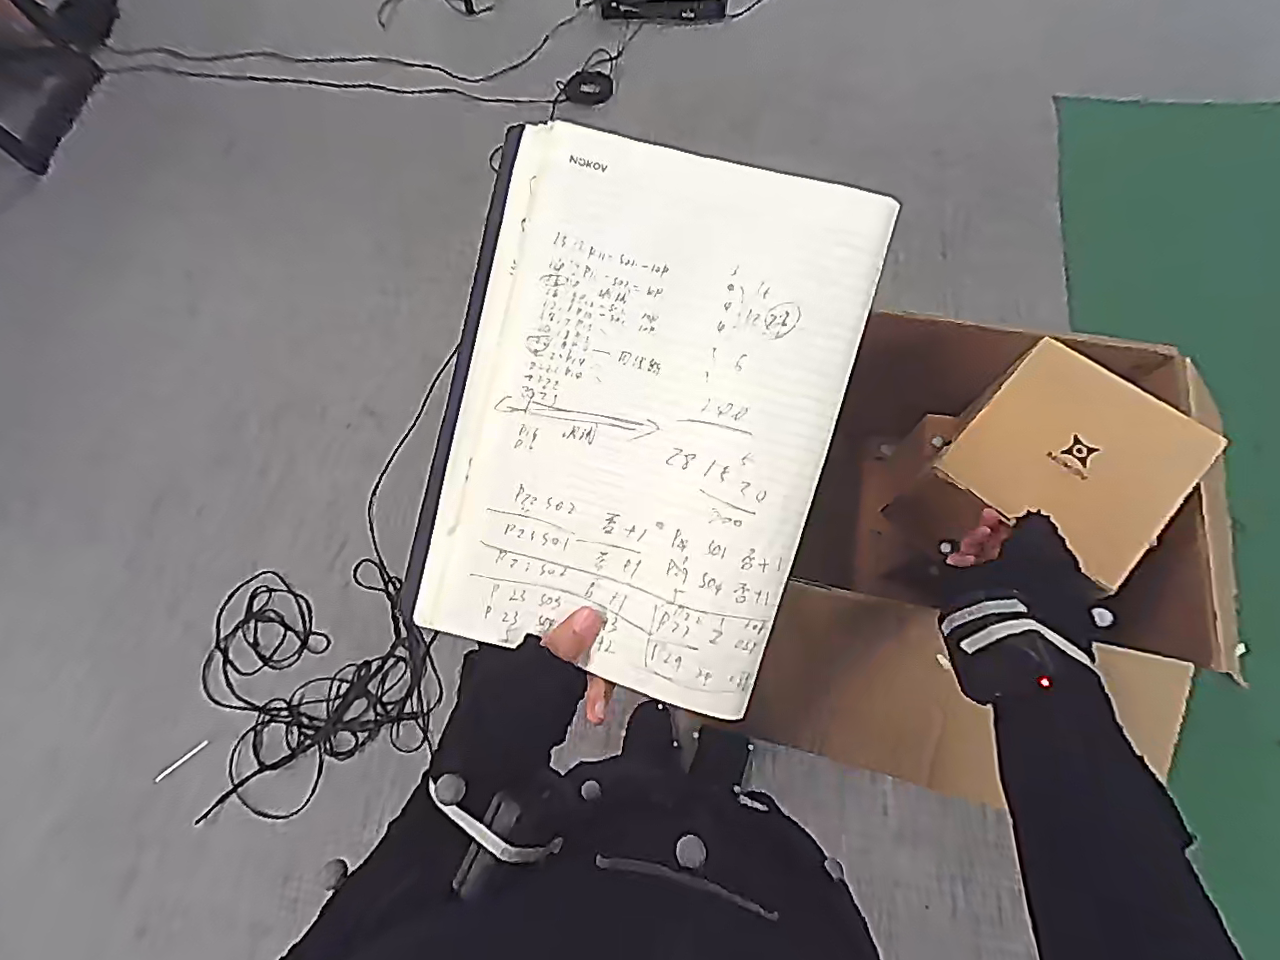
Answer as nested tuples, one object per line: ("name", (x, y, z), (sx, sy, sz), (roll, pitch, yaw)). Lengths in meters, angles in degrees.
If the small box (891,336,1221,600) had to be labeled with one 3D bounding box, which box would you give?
("small box", (0.388, 0.000, 0.545), (0.168, 0.176, 0.179), (40, 82, 17))
